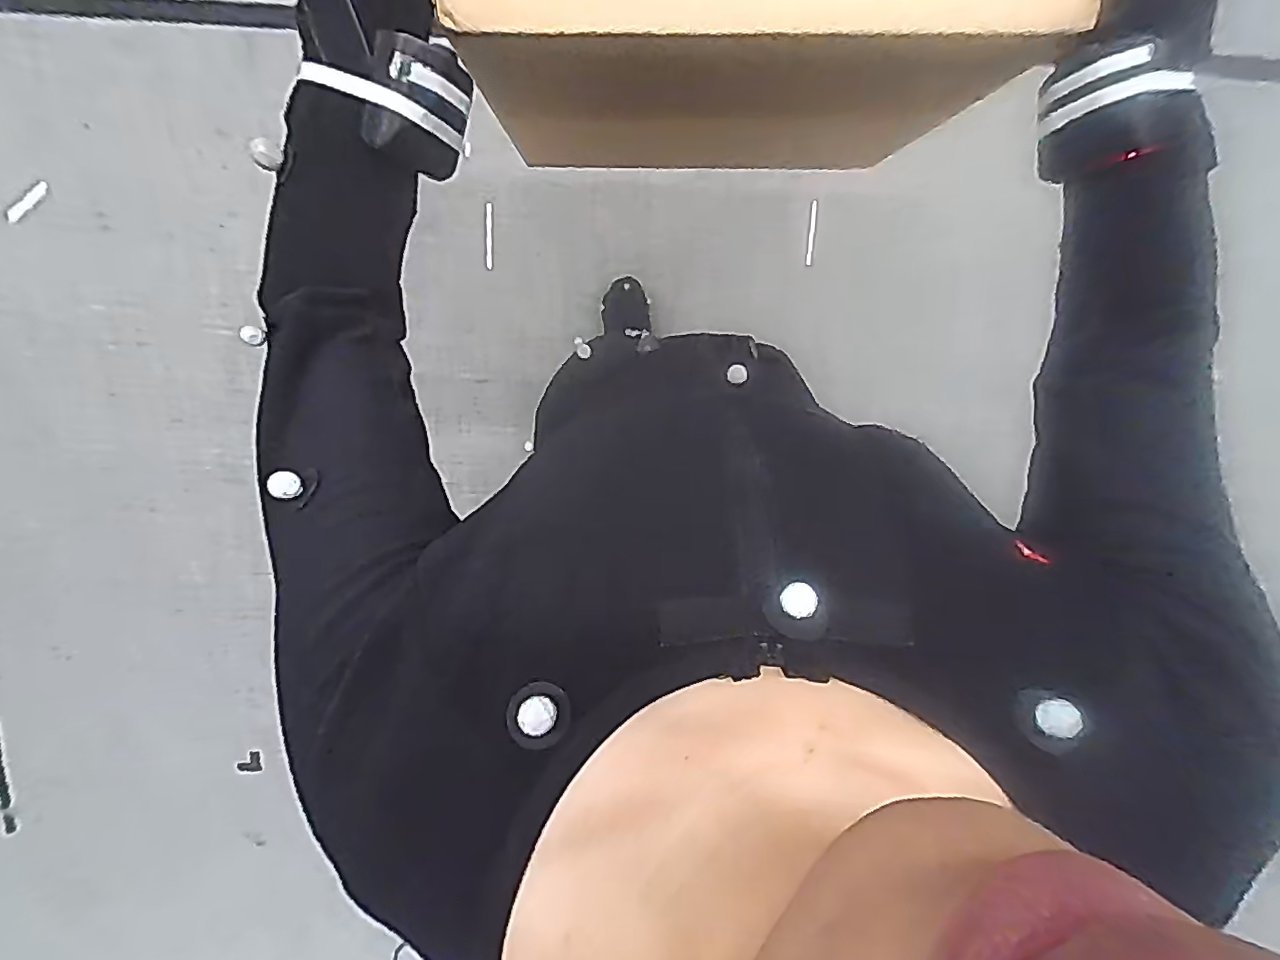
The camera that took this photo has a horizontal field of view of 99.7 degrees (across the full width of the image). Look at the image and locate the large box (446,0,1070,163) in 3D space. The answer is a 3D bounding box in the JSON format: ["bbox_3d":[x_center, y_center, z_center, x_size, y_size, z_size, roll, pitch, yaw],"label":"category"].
[{"bbox_3d":[0.067,-0.476,0.441,0.408,0.320,0.320,-1,106,-2],"label":"large box"}]
